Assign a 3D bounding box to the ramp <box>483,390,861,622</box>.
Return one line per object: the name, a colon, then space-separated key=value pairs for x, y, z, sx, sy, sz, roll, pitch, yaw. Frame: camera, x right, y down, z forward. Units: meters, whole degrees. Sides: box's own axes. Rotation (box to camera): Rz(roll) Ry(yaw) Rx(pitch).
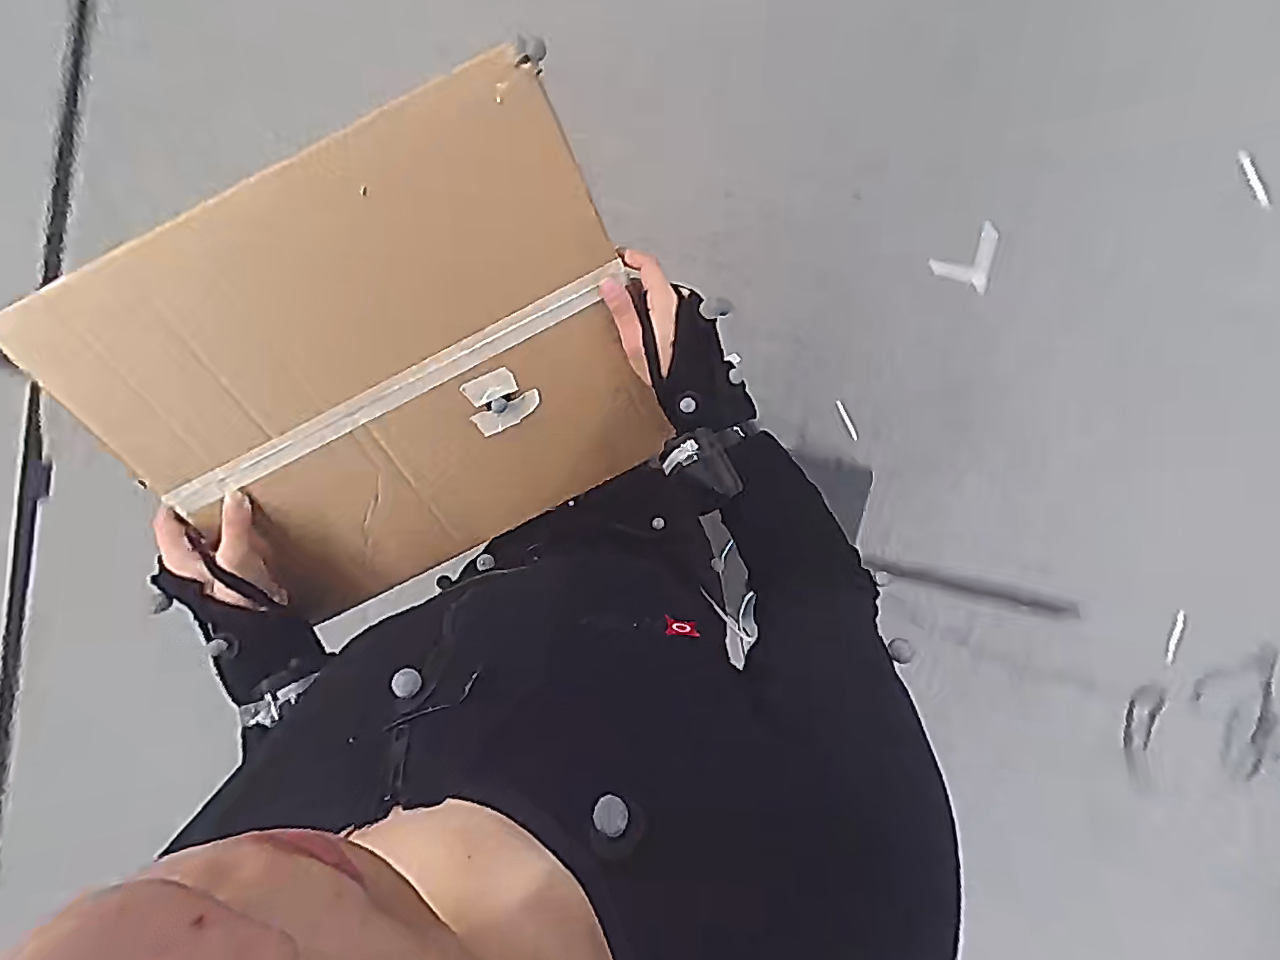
ramp: x=0.123 y=0.098 z=1.466 sx=0.991 sy=0.206 sz=0.509 roll=10 pitch=94 yaw=-4
